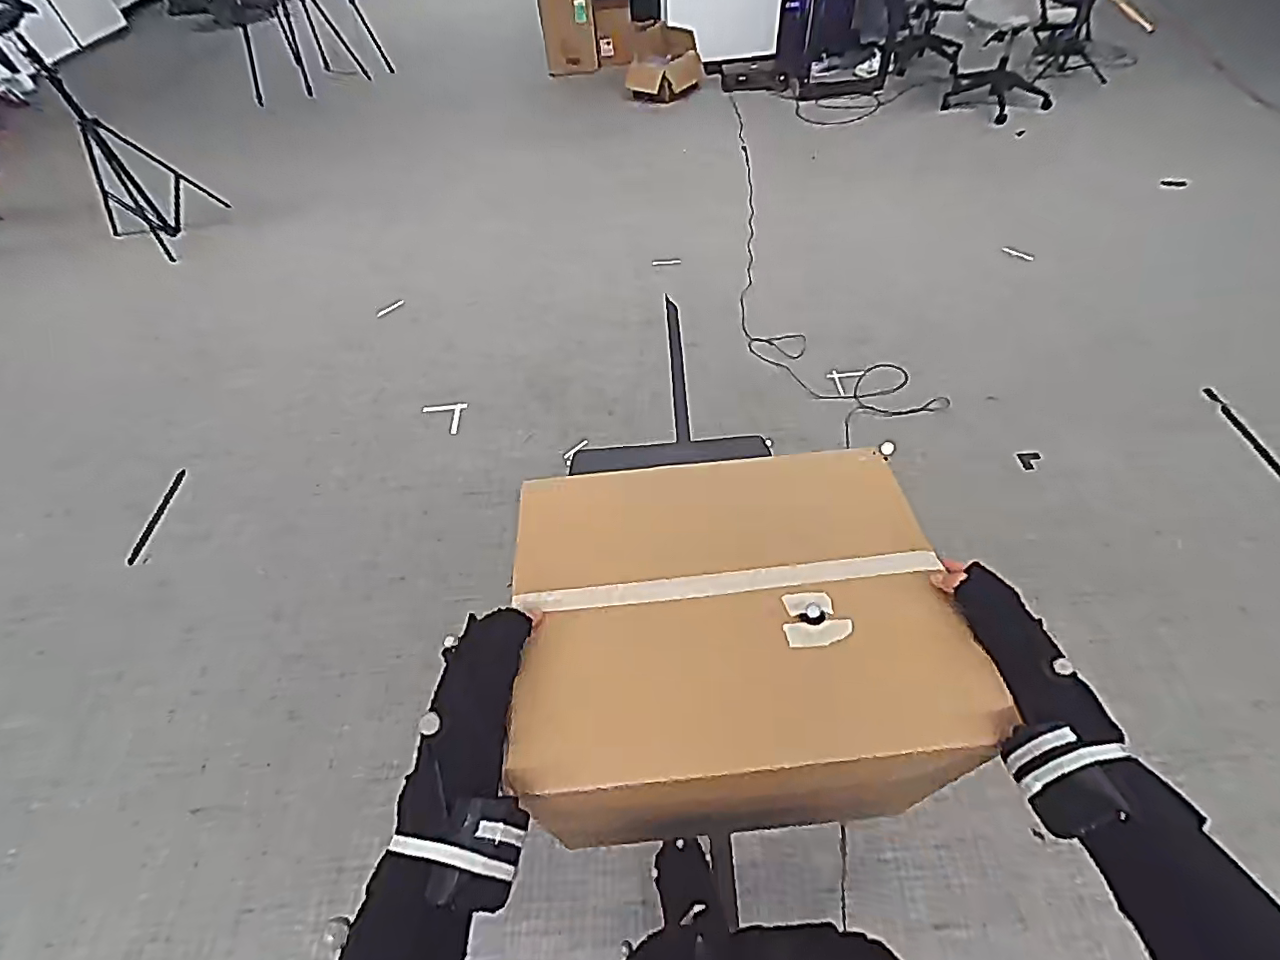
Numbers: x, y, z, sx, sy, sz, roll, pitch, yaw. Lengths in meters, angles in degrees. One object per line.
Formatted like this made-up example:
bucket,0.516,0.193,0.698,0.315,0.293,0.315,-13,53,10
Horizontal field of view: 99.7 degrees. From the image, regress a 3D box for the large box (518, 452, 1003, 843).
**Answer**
large box,0.090,0.200,0.637,0.408,0.320,0.320,-6,49,-1
